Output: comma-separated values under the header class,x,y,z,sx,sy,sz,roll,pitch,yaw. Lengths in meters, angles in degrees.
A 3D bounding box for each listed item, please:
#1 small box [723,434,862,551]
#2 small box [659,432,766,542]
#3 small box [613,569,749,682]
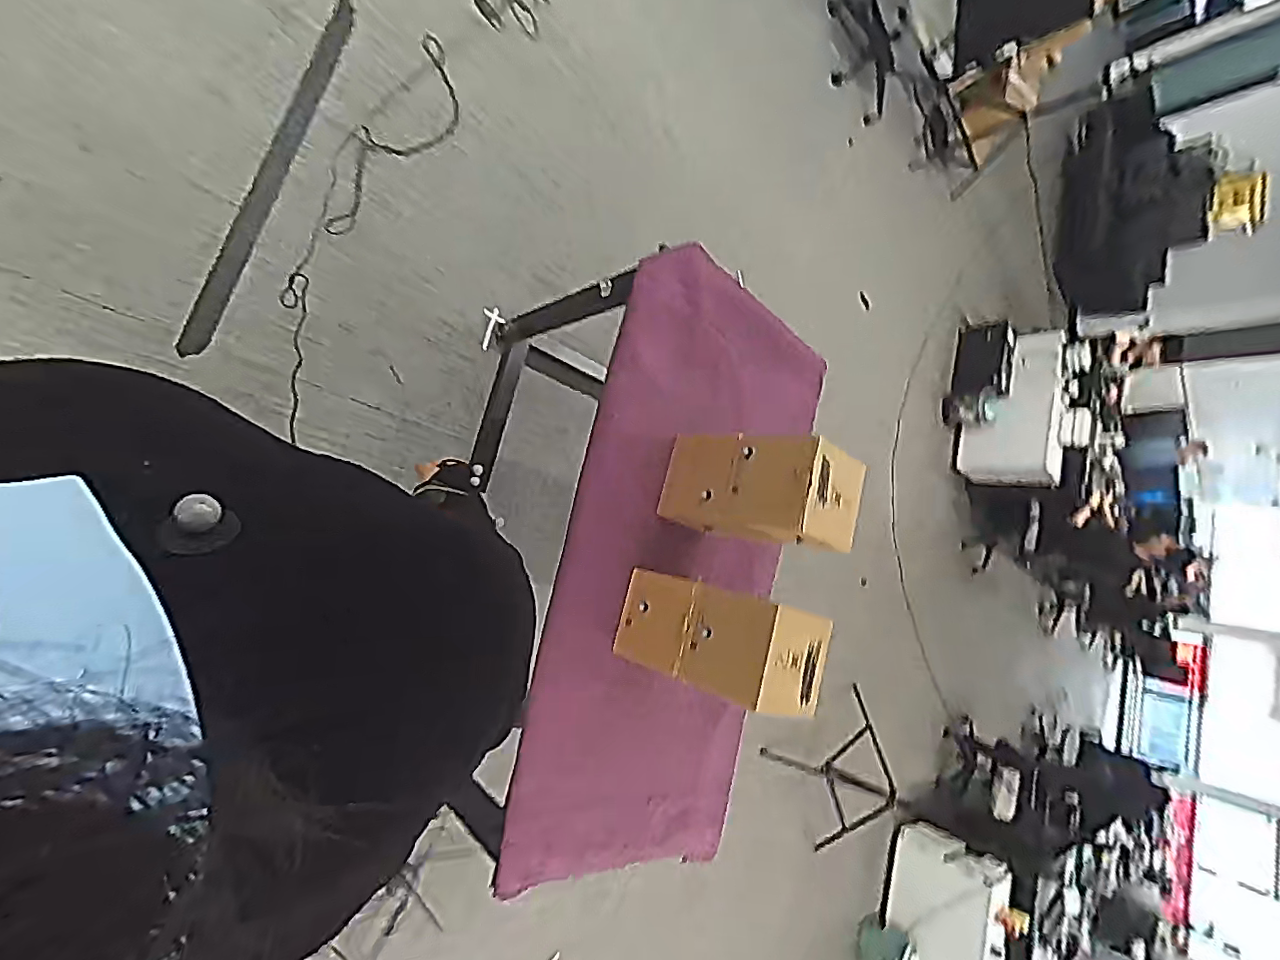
class,x,y,z,sx,sy,sz,roll,pitch,yaw
small box,0.275,0.023,0.985,0.179,0.176,0.168,22,78,-41
small box,0.161,0.014,1.103,0.168,0.176,0.179,24,76,-40
small box,0.079,0.278,1.045,0.179,0.176,0.168,24,76,-40
